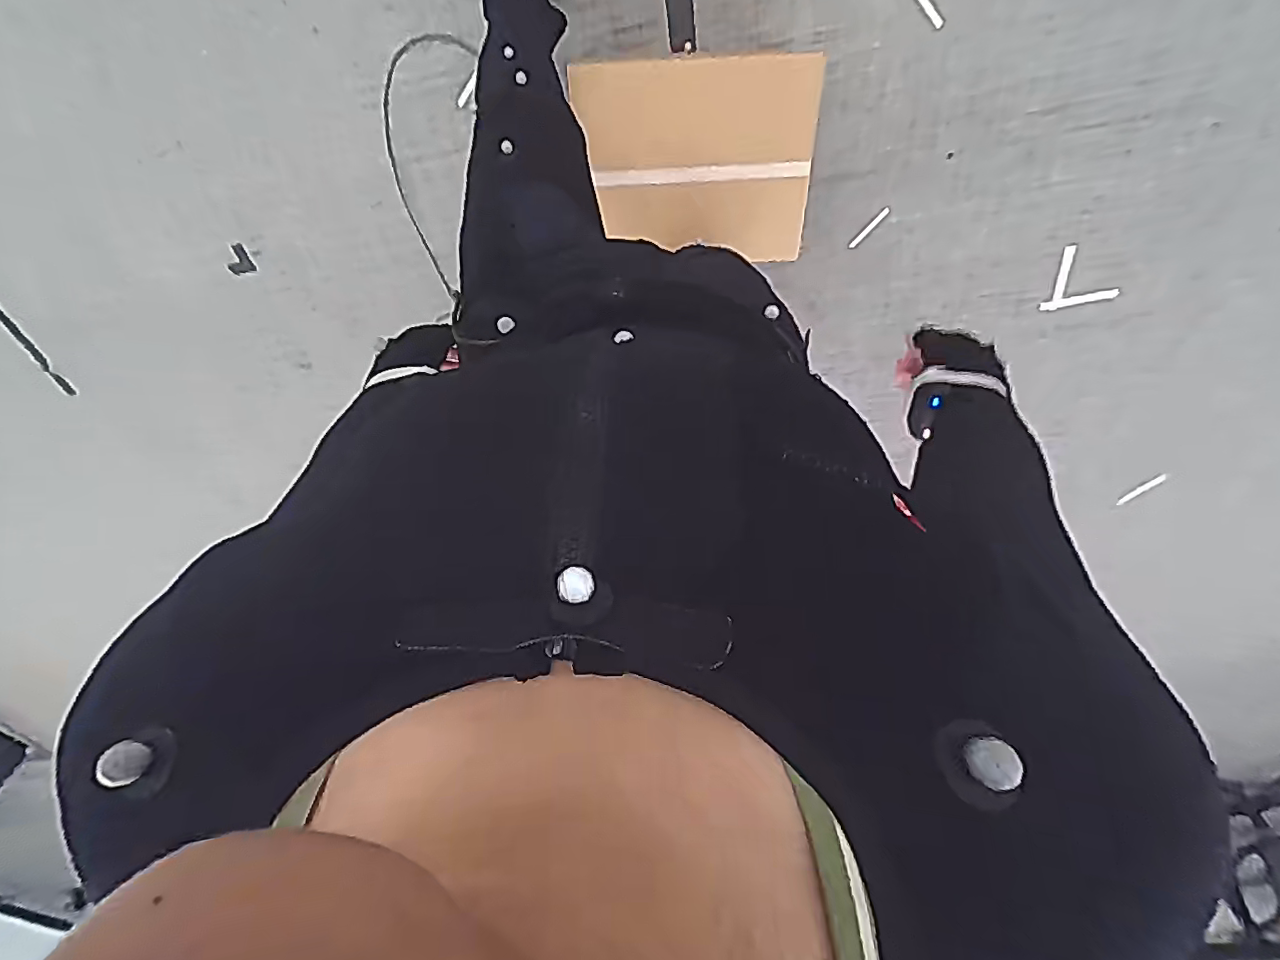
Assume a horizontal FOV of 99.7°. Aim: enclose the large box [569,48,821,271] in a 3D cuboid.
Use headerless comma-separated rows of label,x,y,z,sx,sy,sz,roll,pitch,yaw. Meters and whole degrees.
large box,0.094,-0.625,1.050,0.408,0.320,0.320,-2,129,2
